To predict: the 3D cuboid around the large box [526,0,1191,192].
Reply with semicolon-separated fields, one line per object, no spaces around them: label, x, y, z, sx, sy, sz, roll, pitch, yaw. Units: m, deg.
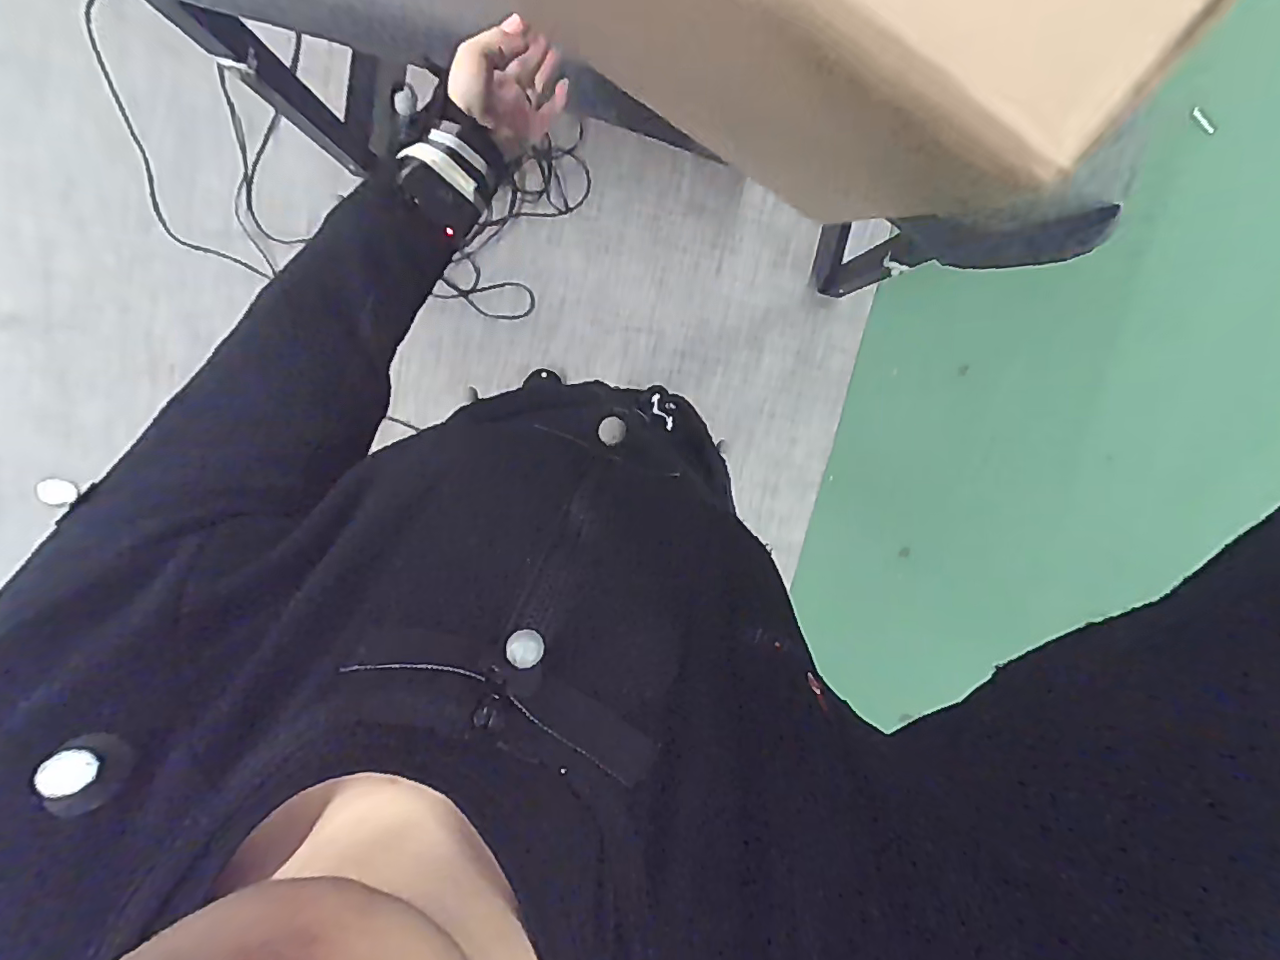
large box;0.075;-0.358;0.230;0.320;0.408;0.320;30;117;-7
